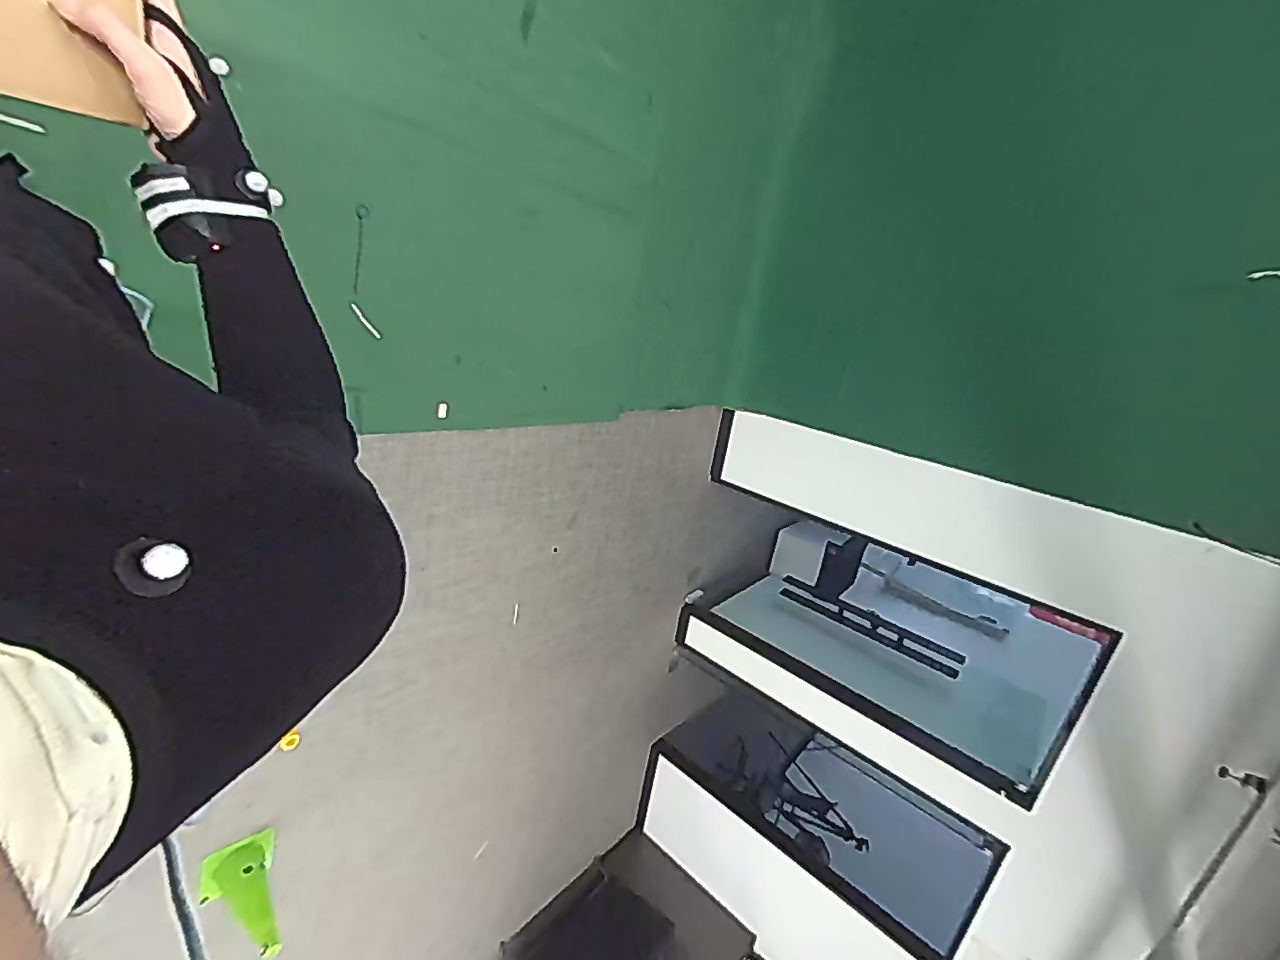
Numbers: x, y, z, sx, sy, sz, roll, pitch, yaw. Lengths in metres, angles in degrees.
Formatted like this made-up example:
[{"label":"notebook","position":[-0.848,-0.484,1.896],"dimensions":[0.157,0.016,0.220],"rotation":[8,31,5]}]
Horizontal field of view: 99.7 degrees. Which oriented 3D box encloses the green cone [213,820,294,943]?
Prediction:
[{"label":"green cone","position":[-1.206,1.336,1.747],"dimensions":[0.200,0.368,0.202],"rotation":[-4,111,-52]}]
